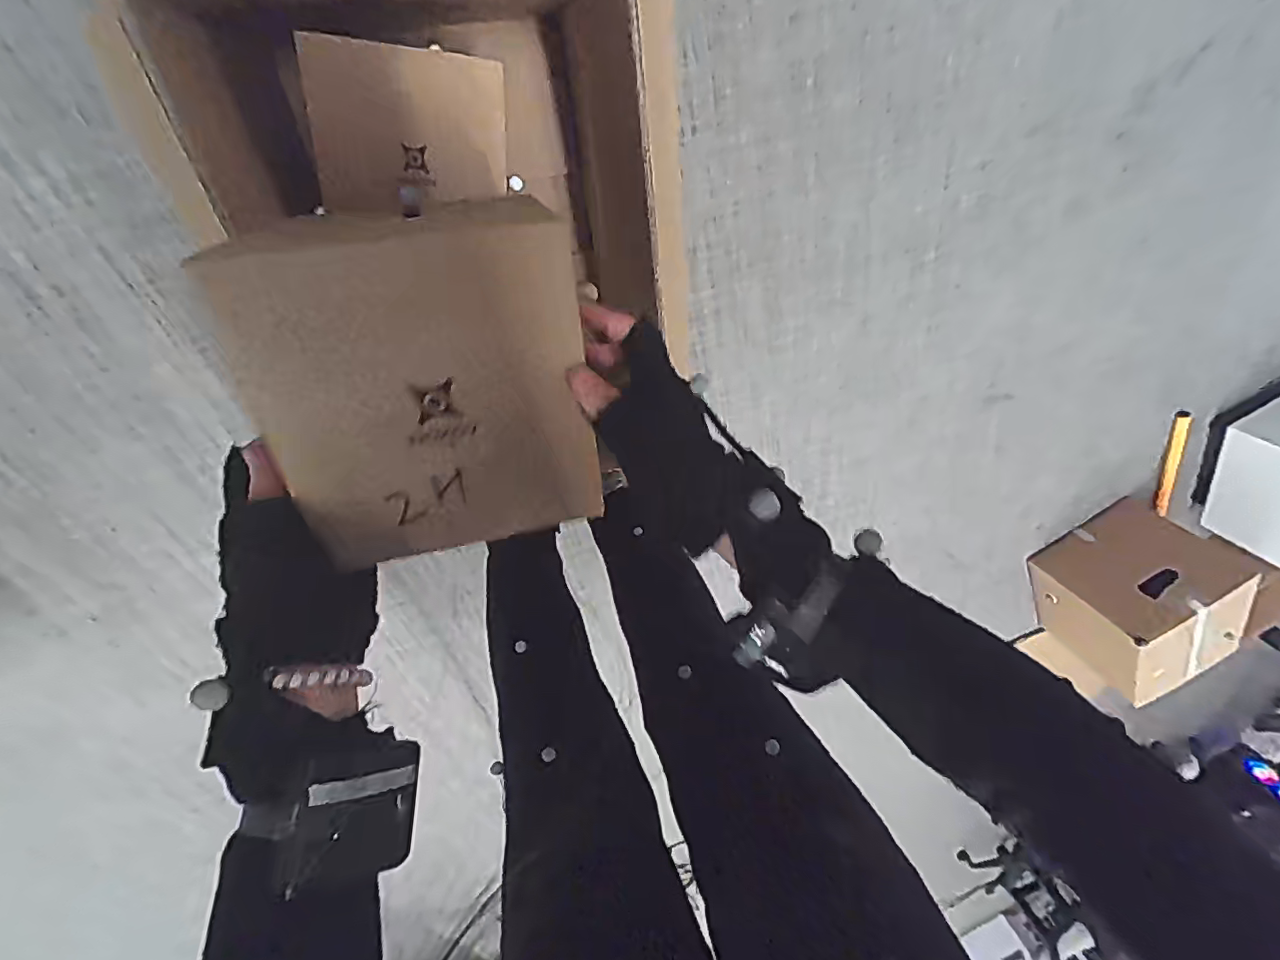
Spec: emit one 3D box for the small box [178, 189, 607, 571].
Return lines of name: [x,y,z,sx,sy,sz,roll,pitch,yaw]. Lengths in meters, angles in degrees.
small box: [-0.124,-0.076,0.342,0.168,0.176,0.179,-12,126,-9]
